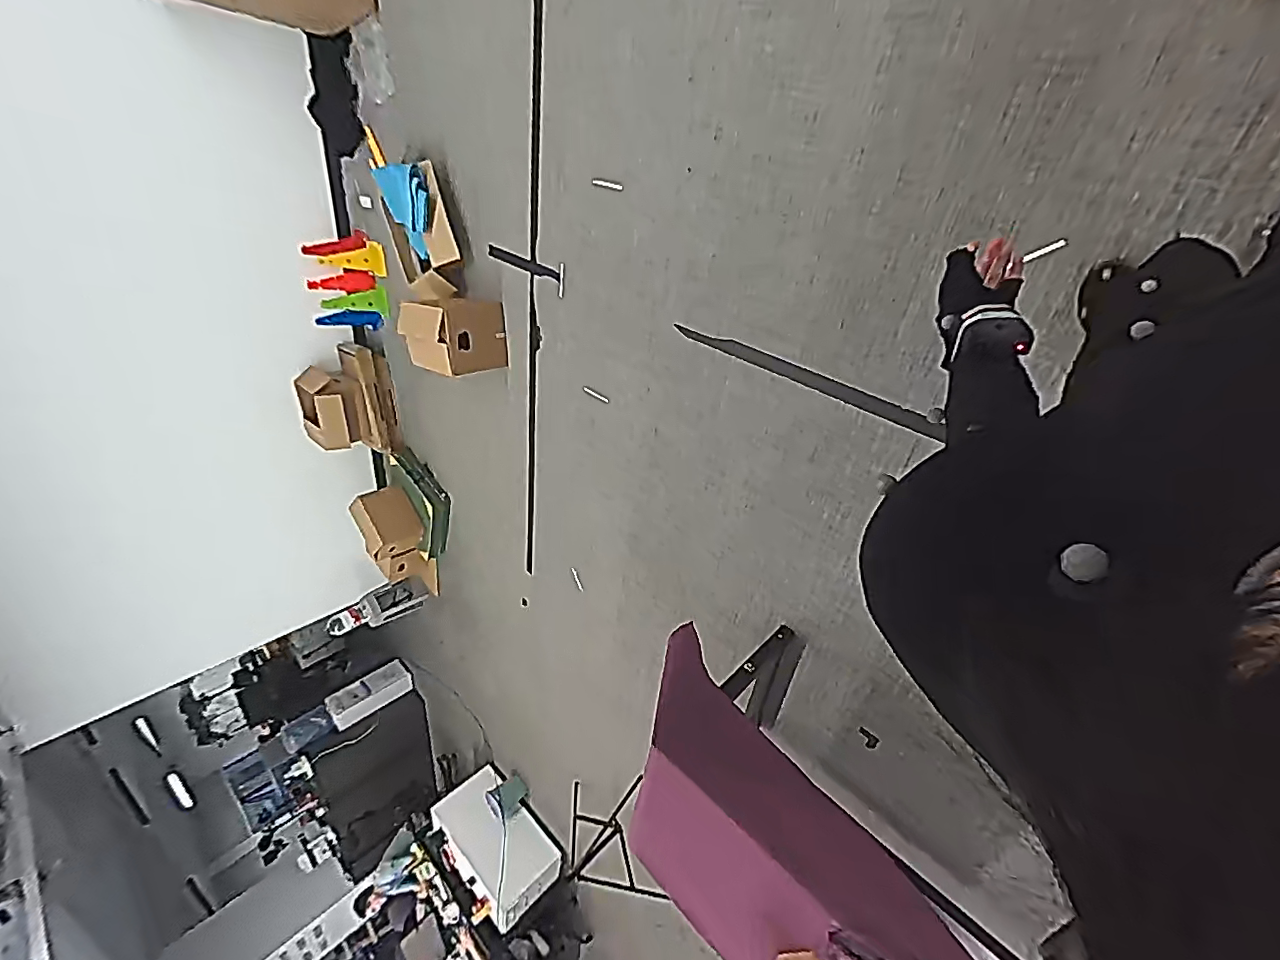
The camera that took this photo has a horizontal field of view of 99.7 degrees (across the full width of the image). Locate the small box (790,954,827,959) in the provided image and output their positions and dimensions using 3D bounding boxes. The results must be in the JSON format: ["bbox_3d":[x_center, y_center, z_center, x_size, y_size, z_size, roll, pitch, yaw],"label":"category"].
[{"bbox_3d":[0.422,1.277,1.283,0.179,0.176,0.168,47,138,20],"label":"small box"}]
